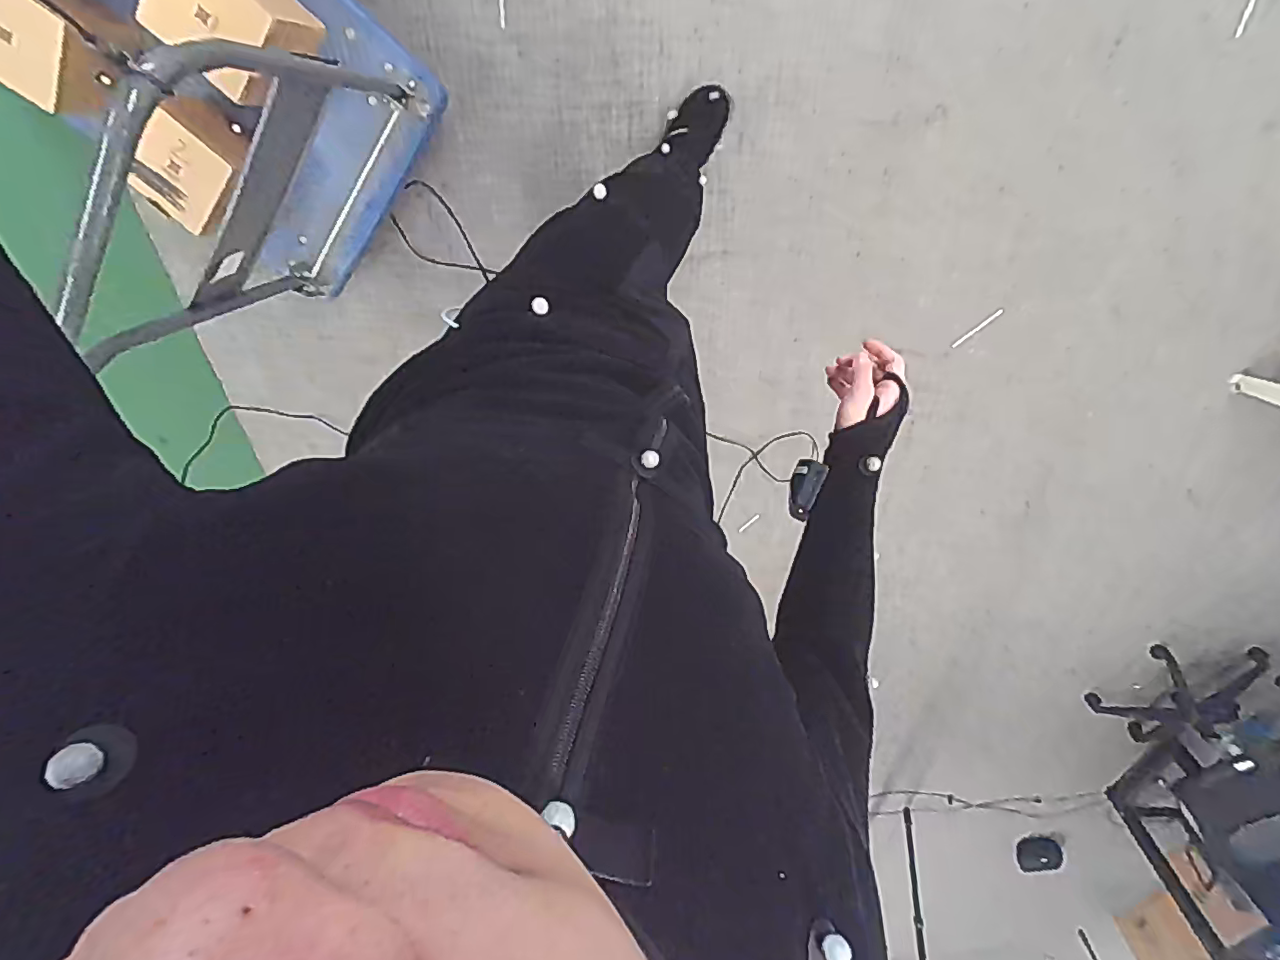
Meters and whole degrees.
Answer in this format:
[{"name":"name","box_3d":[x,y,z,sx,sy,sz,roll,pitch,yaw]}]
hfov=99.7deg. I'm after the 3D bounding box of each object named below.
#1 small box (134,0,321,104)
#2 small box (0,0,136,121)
[{"name":"small box","box_3d":[-0.715,-0.800,0.953,0.179,0.176,0.168,37,118,-22]},{"name":"small box","box_3d":[-1.070,-0.787,0.971,0.179,0.176,0.168,33,118,-20]}]
